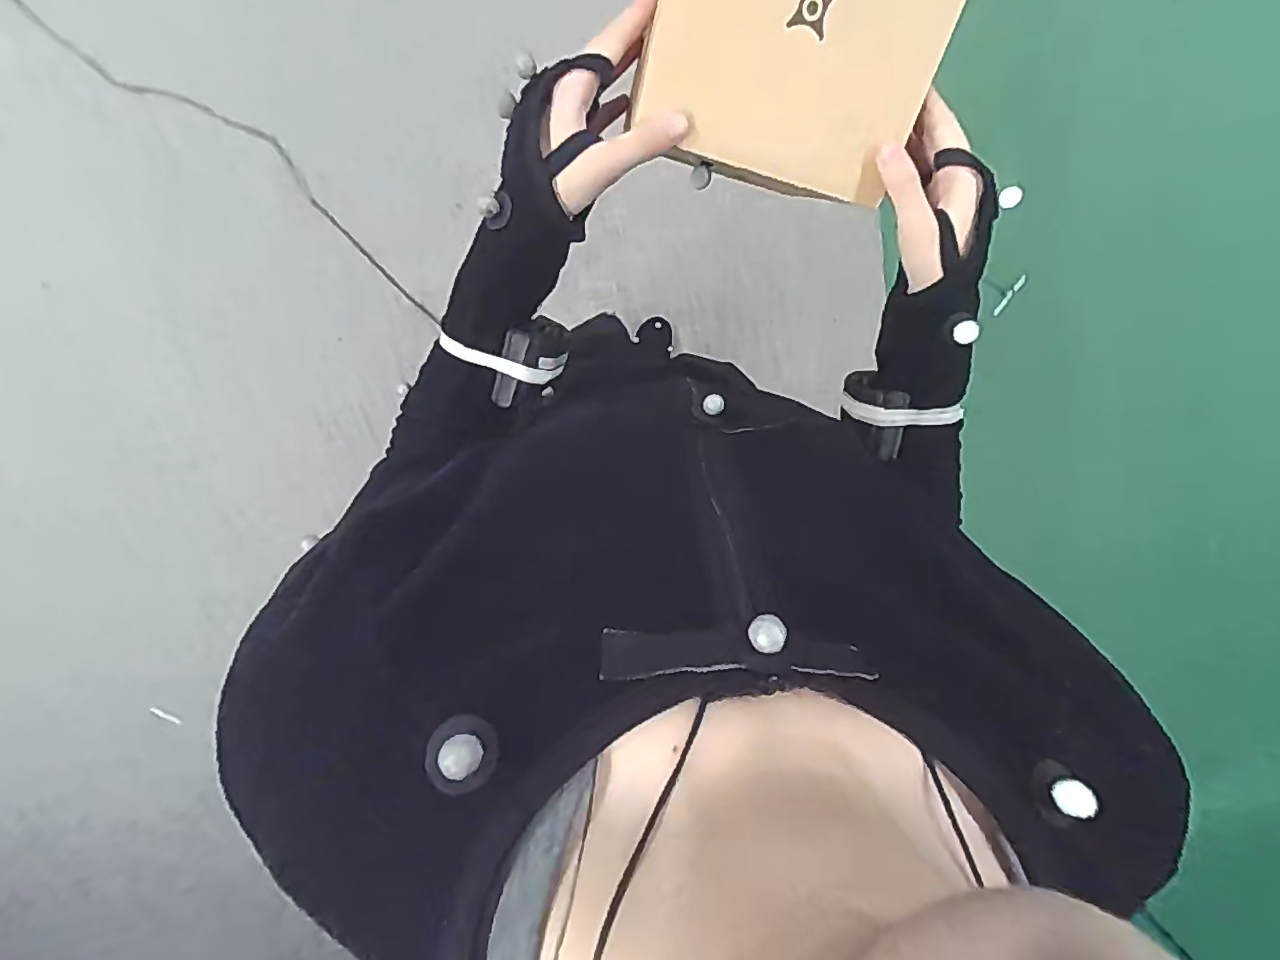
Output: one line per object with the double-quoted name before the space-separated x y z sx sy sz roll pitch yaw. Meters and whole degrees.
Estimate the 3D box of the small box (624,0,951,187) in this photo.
"small box" 0.087 -0.313 0.360 0.168 0.176 0.179 10 117 -11
